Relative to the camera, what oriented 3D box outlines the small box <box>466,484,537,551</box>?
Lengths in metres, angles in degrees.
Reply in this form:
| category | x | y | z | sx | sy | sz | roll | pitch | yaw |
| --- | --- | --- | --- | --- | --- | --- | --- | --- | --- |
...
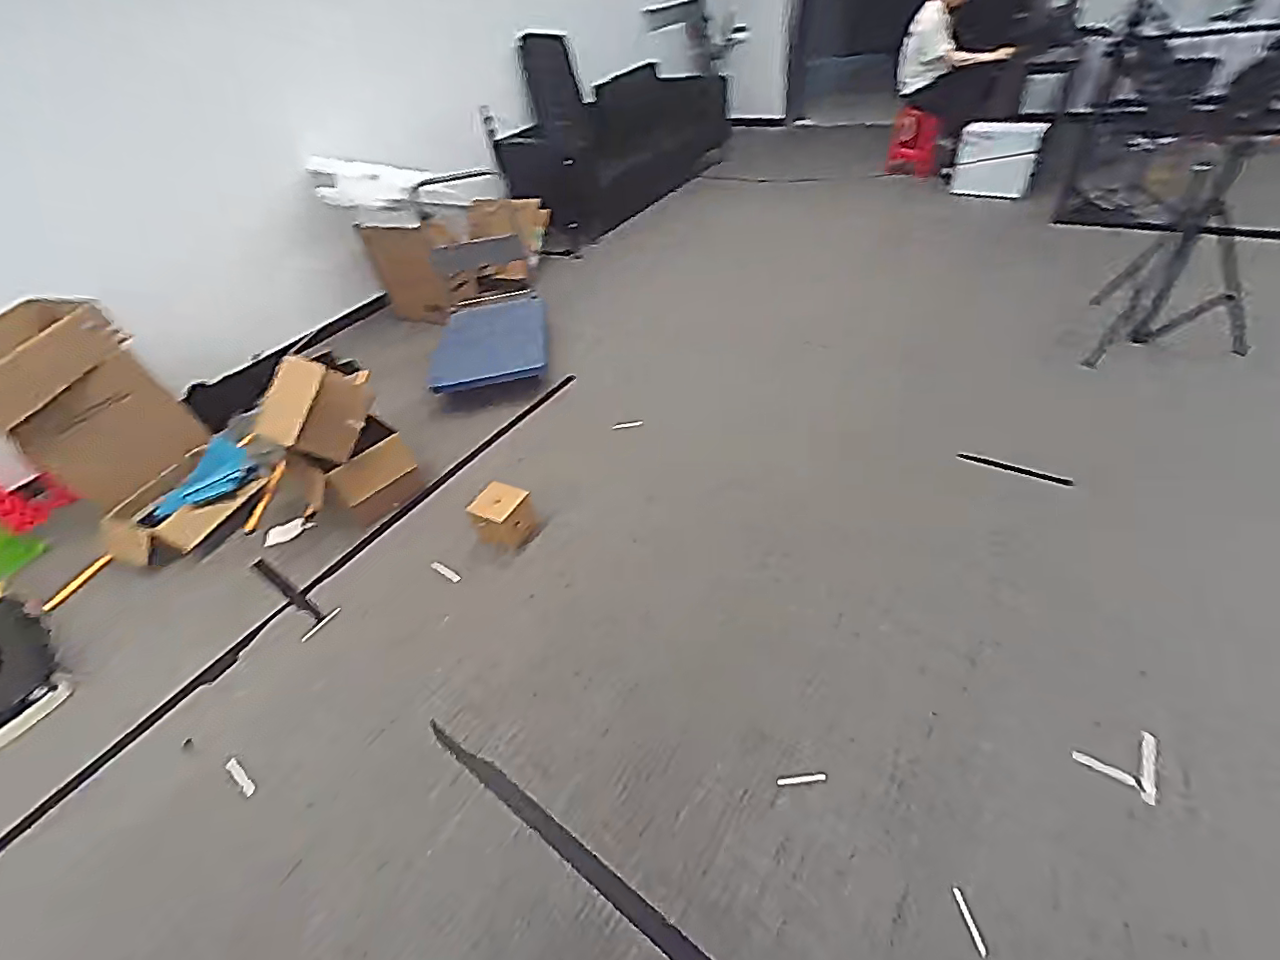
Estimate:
| category | x | y | z | sx | sy | sz | roll | pitch | yaw |
| --- | --- | --- | --- | --- | --- | --- | --- | --- | --- |
| small box | -0.516 | 0.146 | 2.051 | 0.179 | 0.176 | 0.168 | 15 | 49 | 26 |
